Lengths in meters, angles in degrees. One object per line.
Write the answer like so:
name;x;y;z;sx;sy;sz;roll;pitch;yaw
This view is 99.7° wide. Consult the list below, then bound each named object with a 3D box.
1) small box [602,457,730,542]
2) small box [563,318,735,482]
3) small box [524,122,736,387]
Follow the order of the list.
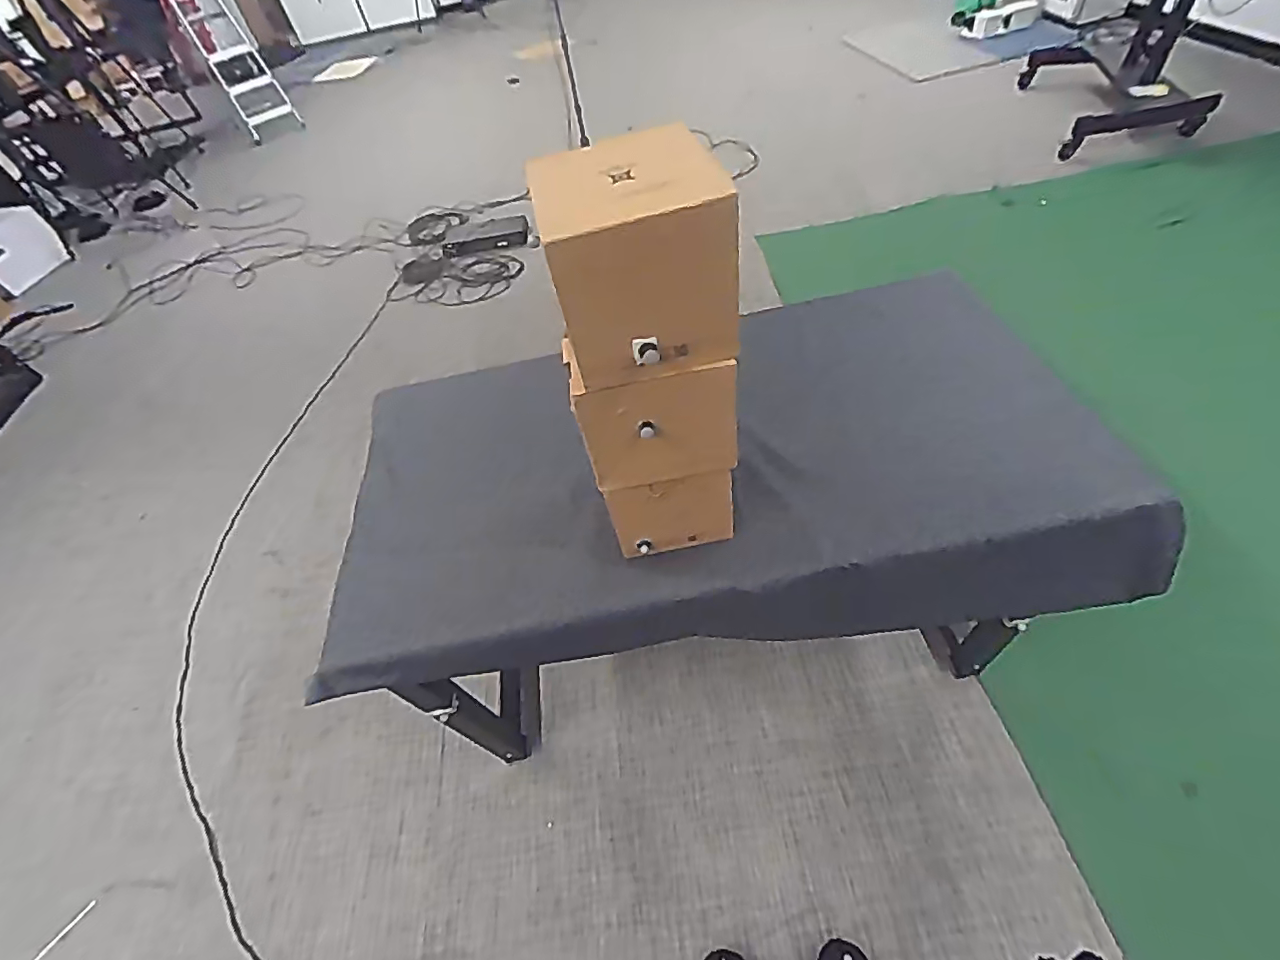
small box;0.035;-0.024;0.803;0.168;0.176;0.179;-12;50;2
small box;0.014;-0.119;0.675;0.179;0.176;0.168;-13;49;0
small box;-0.008;-0.225;0.550;0.168;0.176;0.179;-16;52;-1
